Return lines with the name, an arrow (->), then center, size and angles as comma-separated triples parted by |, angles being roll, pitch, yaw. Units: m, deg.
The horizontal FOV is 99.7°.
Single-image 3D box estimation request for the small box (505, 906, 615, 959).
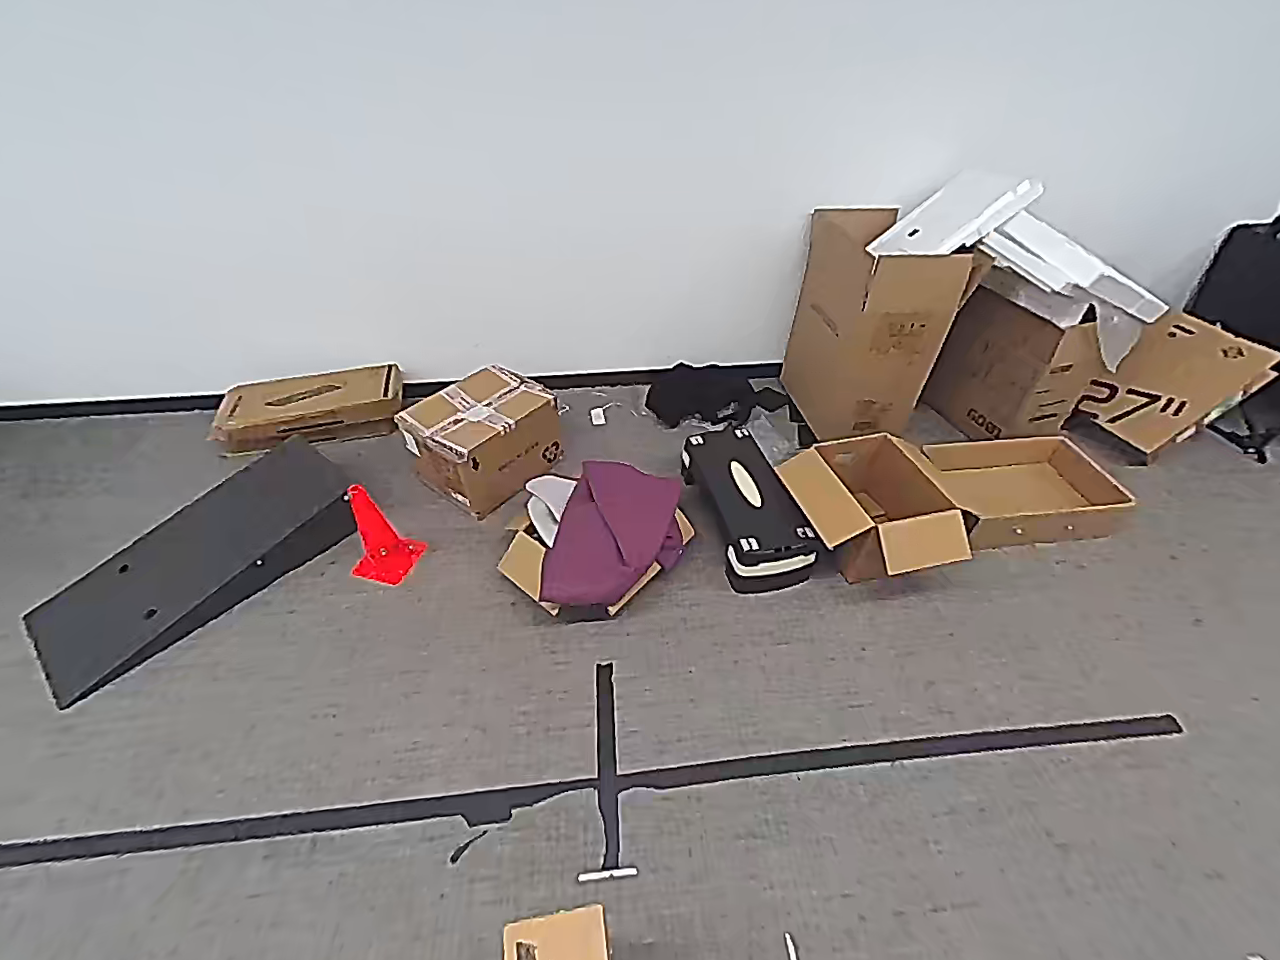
small box -> -0.131, 0.872, 0.935 | 0.179, 0.176, 0.168 | -7, 43, -7
